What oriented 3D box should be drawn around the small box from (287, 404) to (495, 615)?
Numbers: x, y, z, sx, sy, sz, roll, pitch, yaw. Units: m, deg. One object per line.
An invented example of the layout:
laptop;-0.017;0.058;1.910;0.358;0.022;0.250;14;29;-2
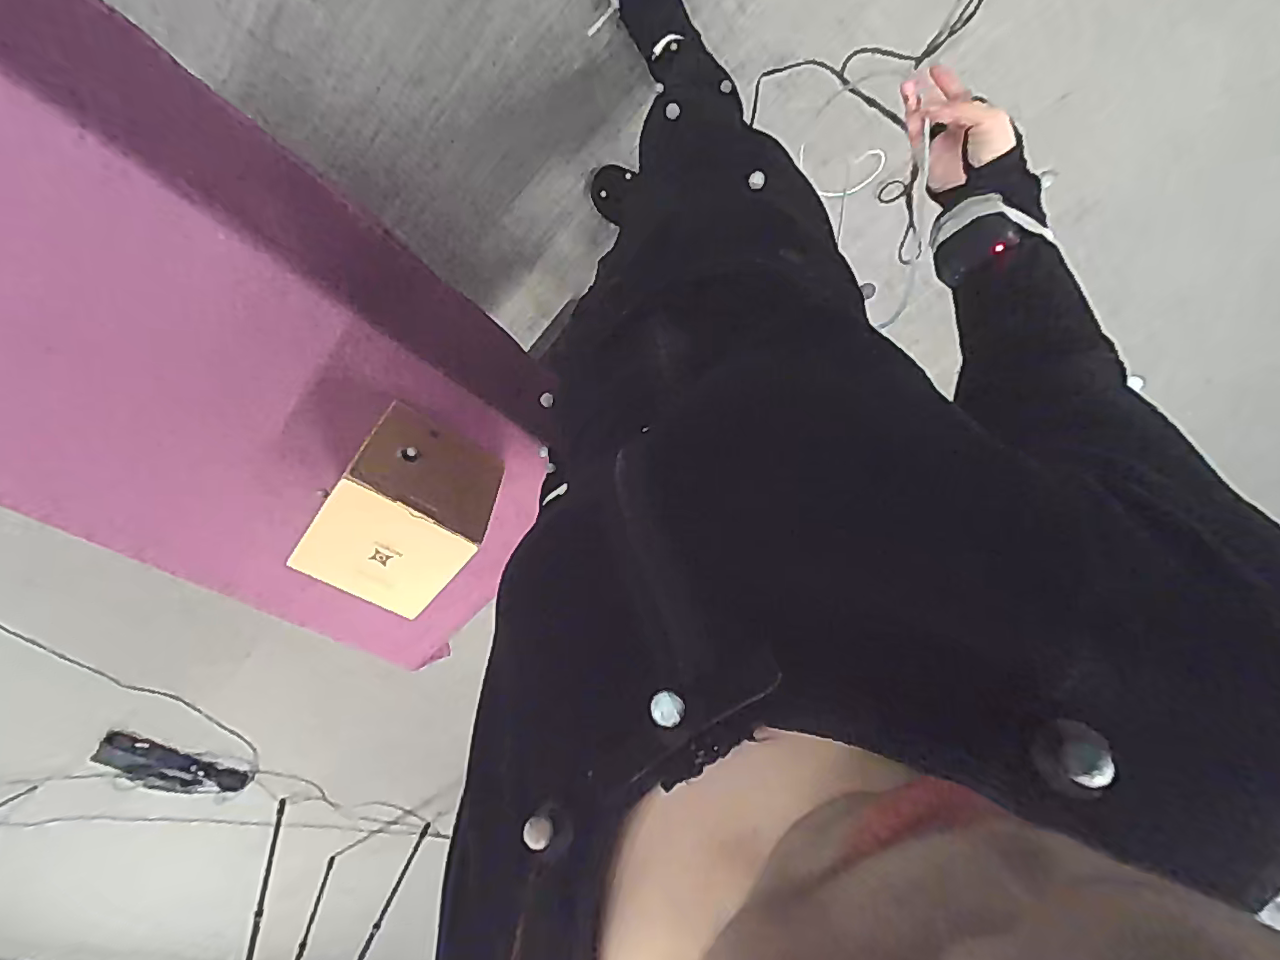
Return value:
small box;-0.305;0.034;0.698;0.168;0.176;0.179;34;120;-24
